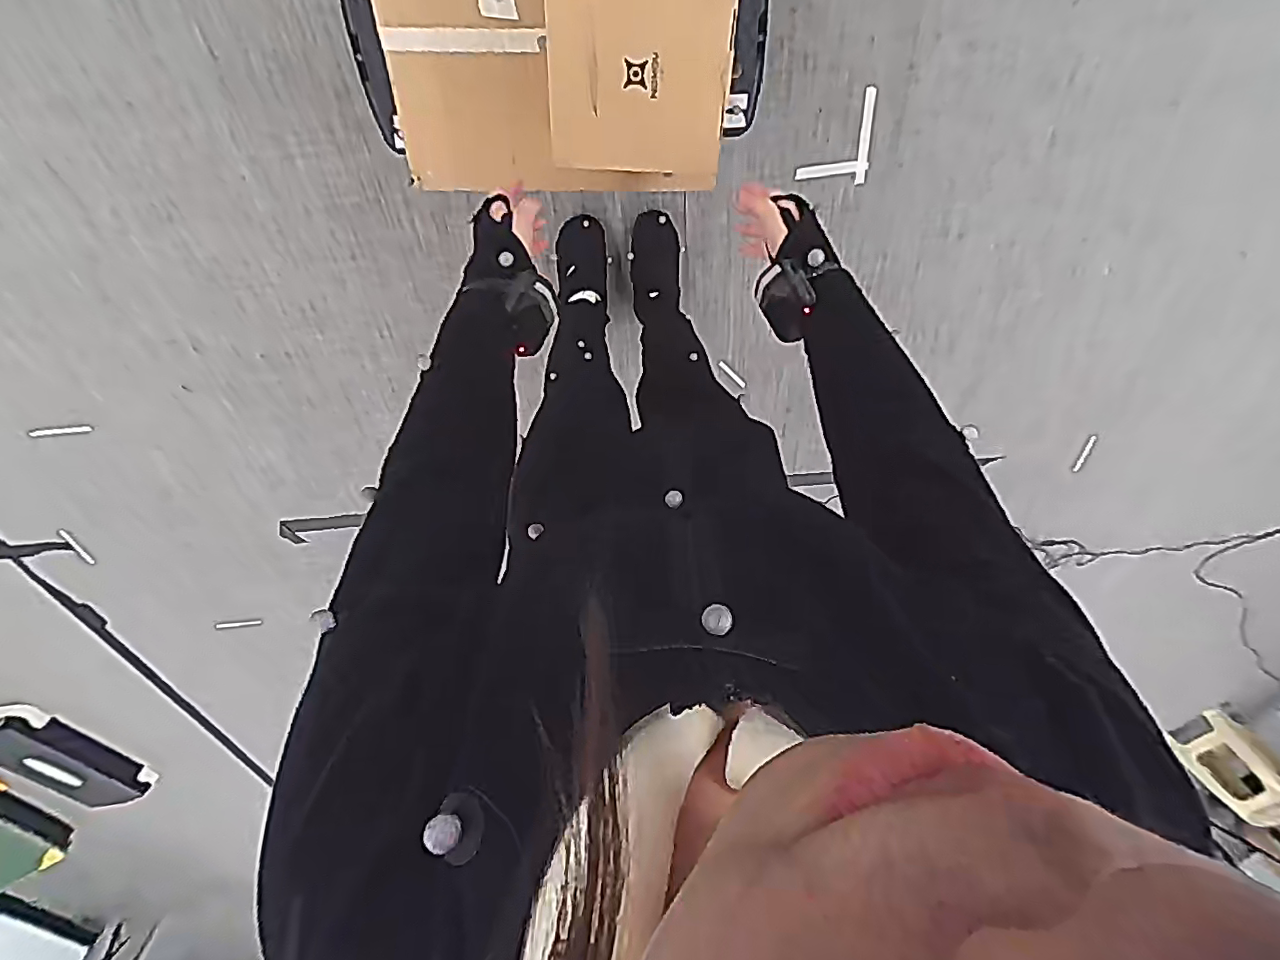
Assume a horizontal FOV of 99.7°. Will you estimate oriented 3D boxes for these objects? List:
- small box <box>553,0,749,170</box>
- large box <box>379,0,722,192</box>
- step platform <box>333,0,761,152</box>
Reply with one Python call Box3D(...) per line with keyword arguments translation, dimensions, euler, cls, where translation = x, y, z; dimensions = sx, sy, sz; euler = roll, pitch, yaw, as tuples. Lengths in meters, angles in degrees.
Box3D(translation=(0.001, -0.436, 0.565), dimensions=(0.179, 0.176, 0.168), euler=(0, 128, -5), cls="small box")
Box3D(translation=(-0.097, -0.598, 0.741), dimensions=(0.408, 0.320, 0.320), euler=(-2, 127, -3), cls="large box")
Box3D(translation=(-0.142, -0.738, 0.930), dimensions=(0.684, 0.204, 0.286), euler=(0, 128, -4), cls="step platform")
